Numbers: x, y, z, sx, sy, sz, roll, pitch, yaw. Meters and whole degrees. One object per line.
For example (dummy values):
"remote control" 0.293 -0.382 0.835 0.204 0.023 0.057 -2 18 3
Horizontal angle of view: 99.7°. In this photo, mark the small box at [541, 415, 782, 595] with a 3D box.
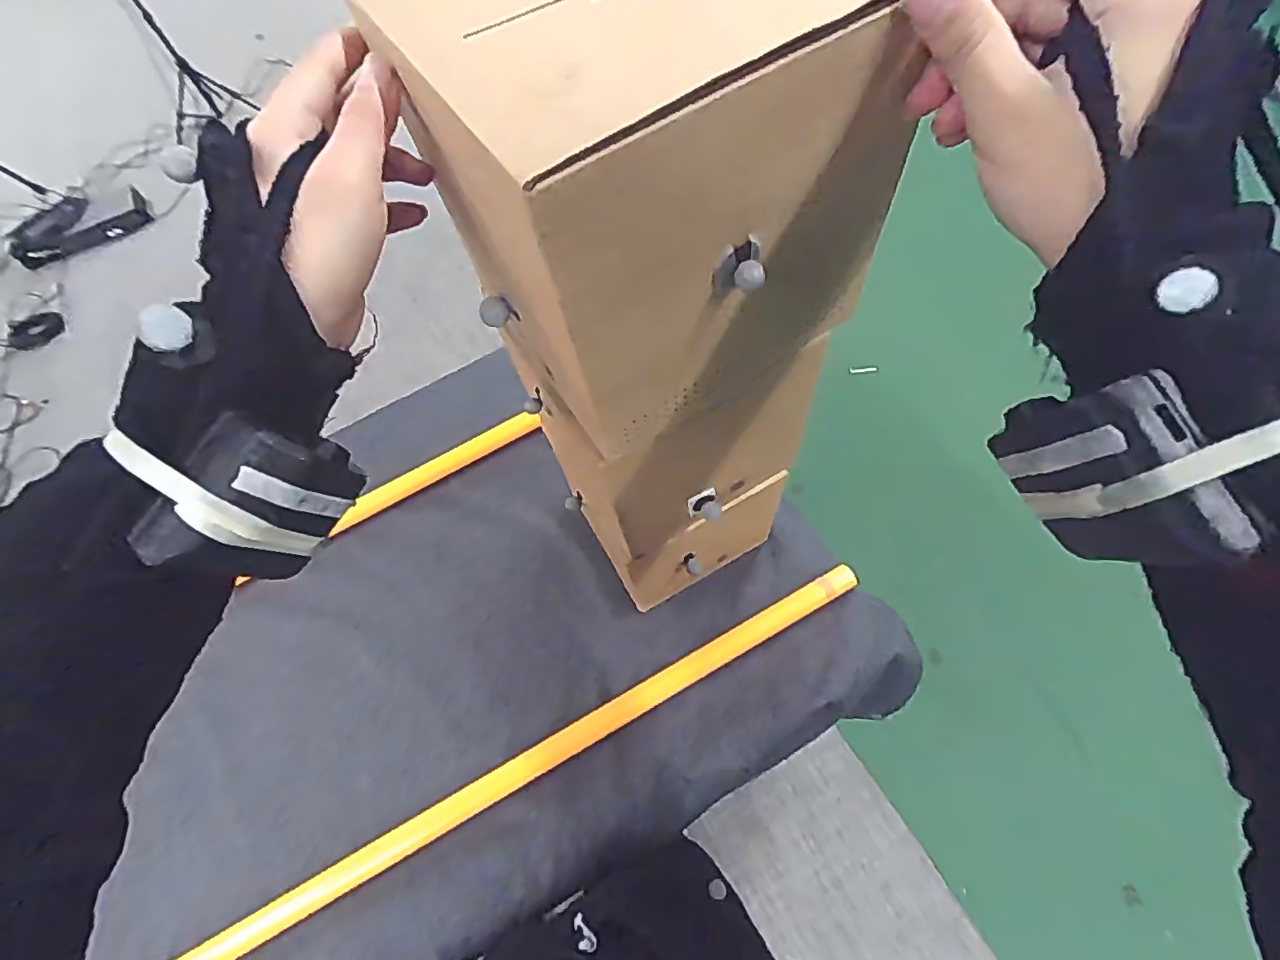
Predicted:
"small box" 0.024 0.002 0.564 0.168 0.176 0.179 -29 63 -8

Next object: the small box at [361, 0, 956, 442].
"small box" 0.003 -0.153 0.273 0.179 0.176 0.168 -32 64 -9

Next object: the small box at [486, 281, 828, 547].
"small box" 0.011 -0.078 0.422 0.168 0.176 0.179 -31 64 -9
